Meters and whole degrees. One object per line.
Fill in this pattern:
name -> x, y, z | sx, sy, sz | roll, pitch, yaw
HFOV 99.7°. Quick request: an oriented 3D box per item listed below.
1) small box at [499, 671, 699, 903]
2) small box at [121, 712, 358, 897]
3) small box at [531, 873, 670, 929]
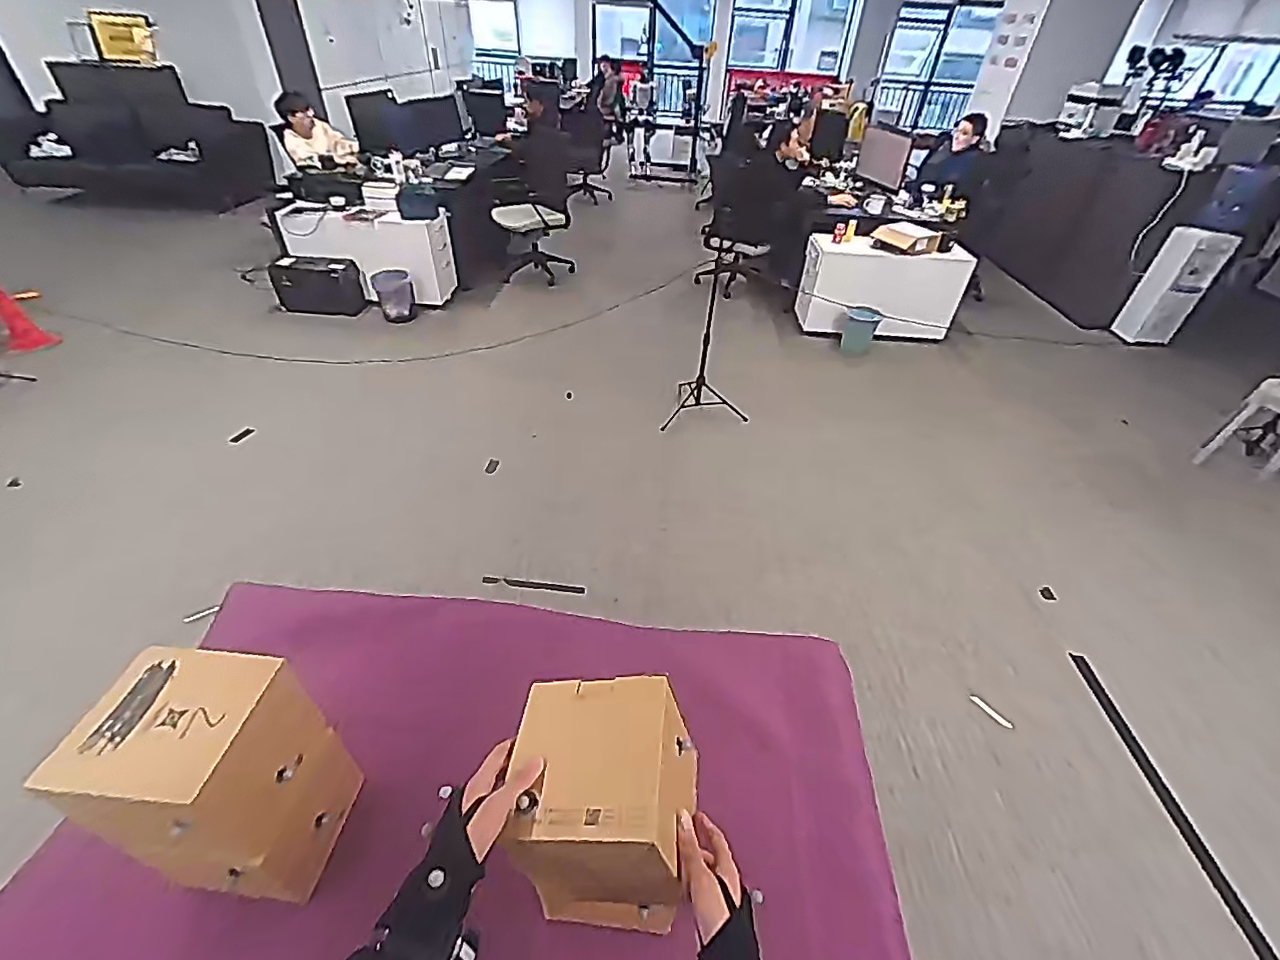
small box -> -0.035, 0.339, 0.596 | 0.168, 0.179, 0.176 | -10, 36, 16
small box -> -0.527, 0.450, 0.748 | 0.179, 0.176, 0.168 | 6, 40, 3
small box -> -0.040, 0.489, 0.744 | 0.179, 0.176, 0.168 | 6, 40, 2
